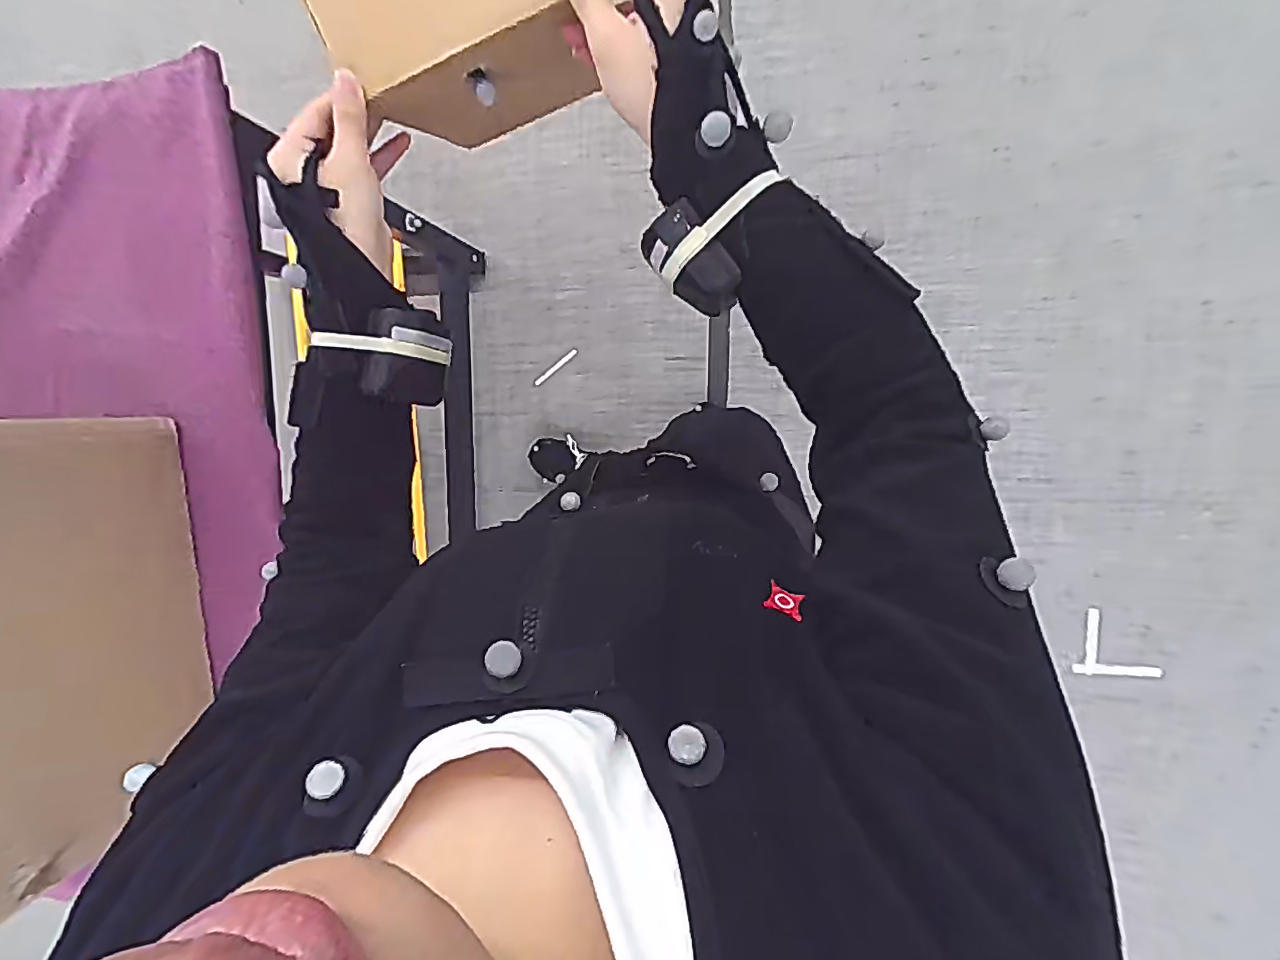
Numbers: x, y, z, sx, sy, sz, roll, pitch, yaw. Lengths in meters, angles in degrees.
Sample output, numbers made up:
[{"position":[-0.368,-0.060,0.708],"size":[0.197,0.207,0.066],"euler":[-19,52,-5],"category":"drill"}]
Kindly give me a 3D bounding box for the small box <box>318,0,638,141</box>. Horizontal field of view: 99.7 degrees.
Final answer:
[{"position":[-0.108,-0.363,0.371],"size":[0.179,0.176,0.168],"euler":[-12,110,17],"category":"small box"}]
